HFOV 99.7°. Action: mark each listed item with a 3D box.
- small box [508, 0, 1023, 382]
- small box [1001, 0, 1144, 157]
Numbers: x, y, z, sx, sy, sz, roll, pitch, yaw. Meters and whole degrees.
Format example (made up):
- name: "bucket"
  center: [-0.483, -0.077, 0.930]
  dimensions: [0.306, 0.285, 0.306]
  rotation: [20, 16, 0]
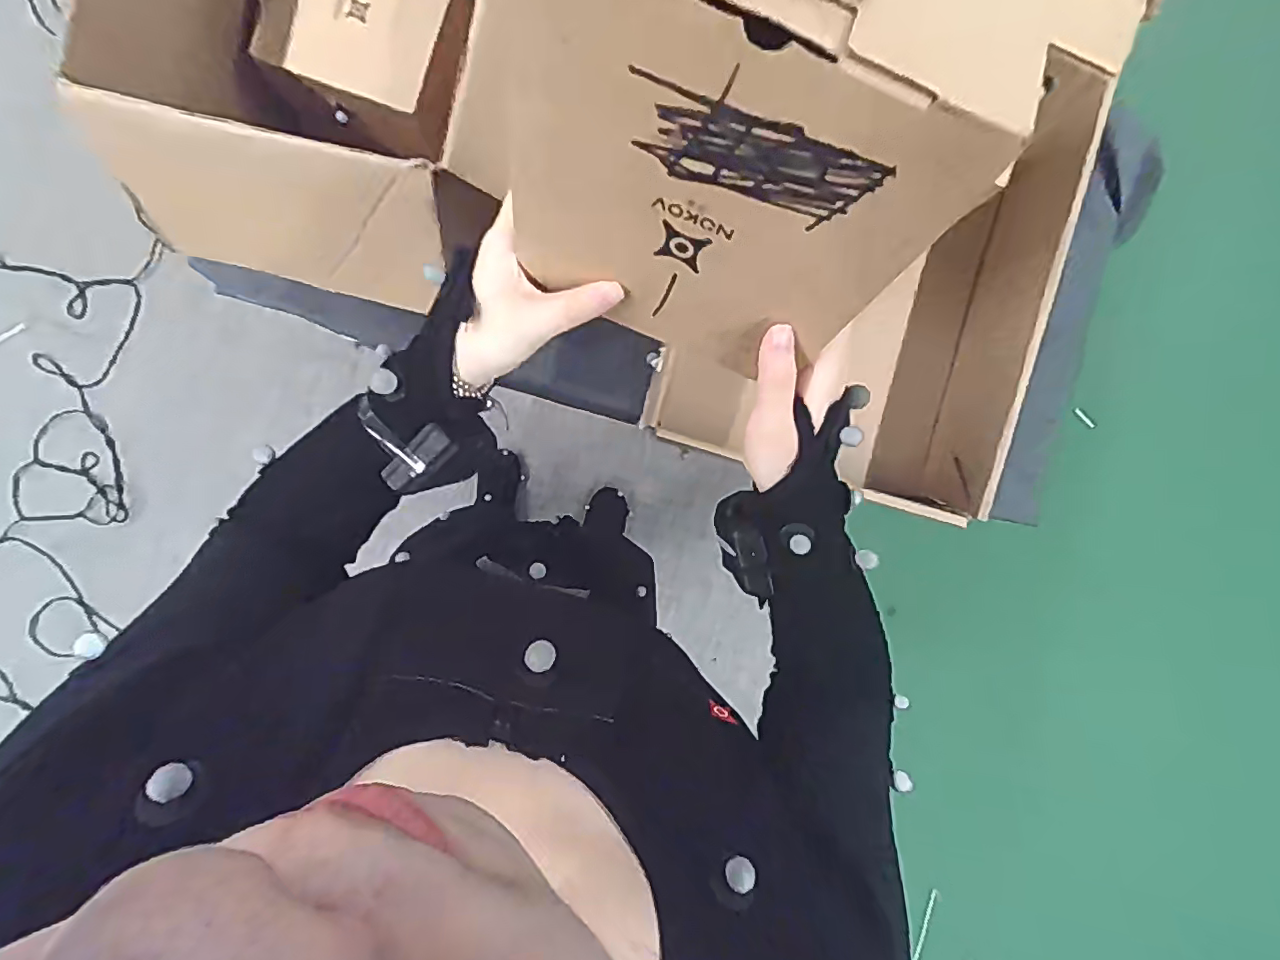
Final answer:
- name: "small box"
  center: [0.047, -0.181, 0.261]
  dimensions: [0.168, 0.179, 0.176]
  rotation: [22, 74, -5]
- name: "small box"
  center: [0.309, -0.414, 0.493]
  dimensions: [0.179, 0.176, 0.168]
  rotation: [23, 92, -5]
